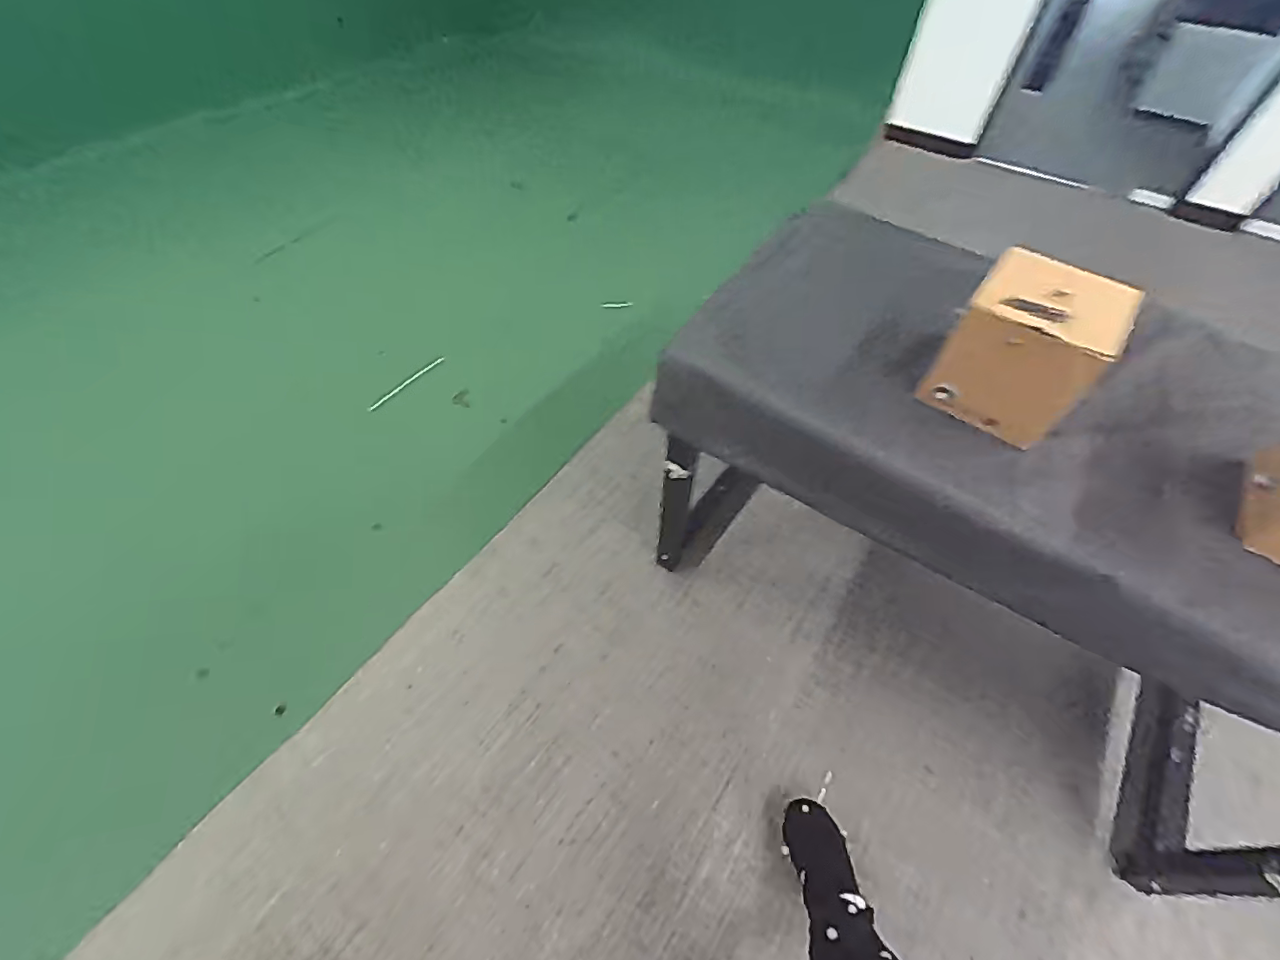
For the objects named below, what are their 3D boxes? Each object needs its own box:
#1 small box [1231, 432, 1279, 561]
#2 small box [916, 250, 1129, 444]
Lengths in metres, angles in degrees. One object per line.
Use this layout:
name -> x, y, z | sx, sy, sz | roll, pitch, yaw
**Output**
small box -> 0.845, 0.017, 0.617 | 0.168, 0.176, 0.179 | 32, 59, 20
small box -> 0.519, -0.182, 0.757 | 0.168, 0.176, 0.179 | 34, 59, 21
